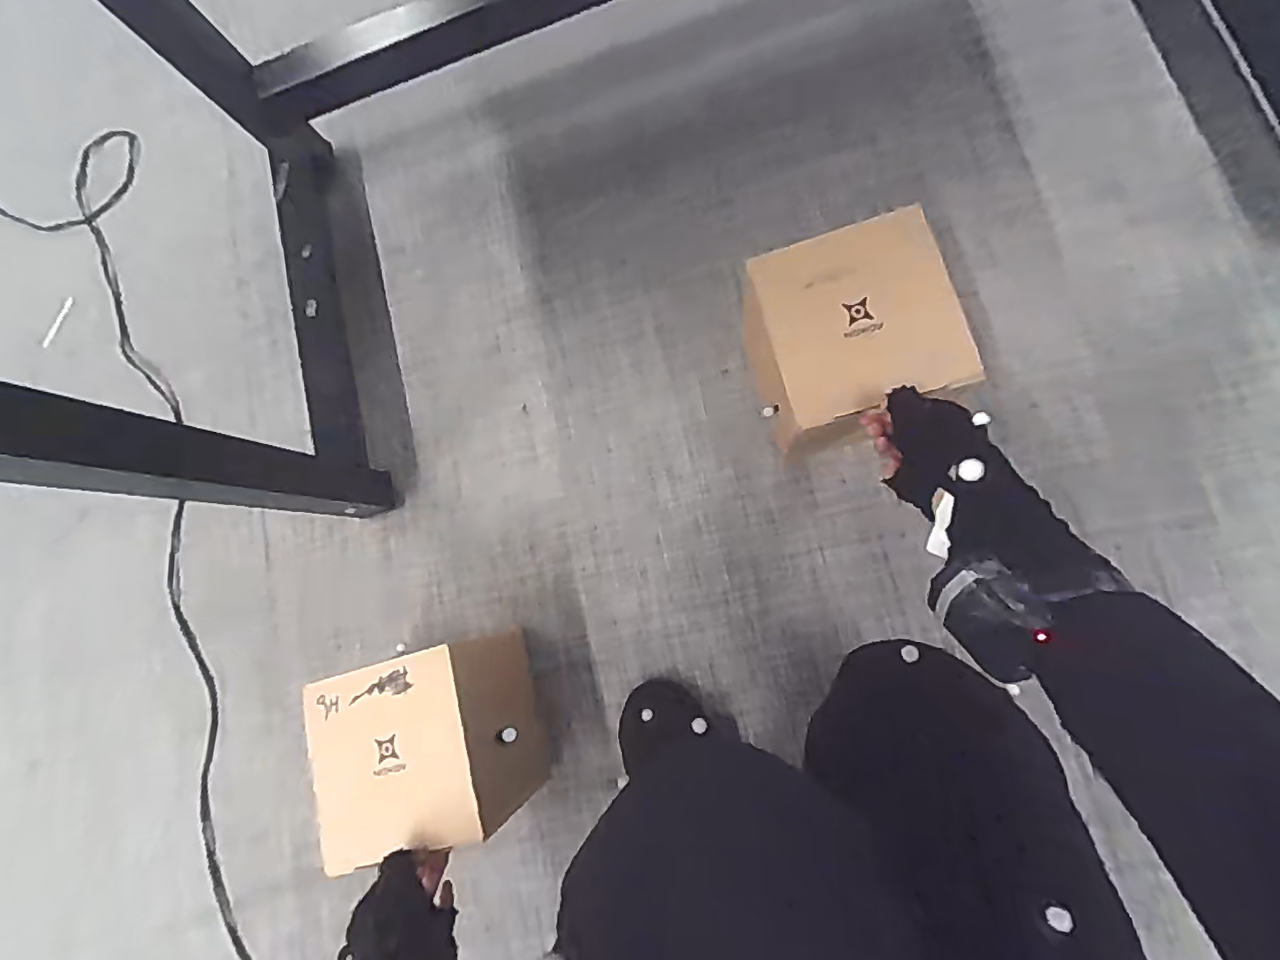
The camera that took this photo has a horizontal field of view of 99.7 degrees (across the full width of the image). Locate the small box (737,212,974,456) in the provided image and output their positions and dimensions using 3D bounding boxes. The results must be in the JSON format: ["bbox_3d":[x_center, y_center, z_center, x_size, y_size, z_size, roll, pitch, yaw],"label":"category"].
[{"bbox_3d":[0.207,-0.133,0.570,0.168,0.176,0.179,-16,78,7],"label":"small box"}]
